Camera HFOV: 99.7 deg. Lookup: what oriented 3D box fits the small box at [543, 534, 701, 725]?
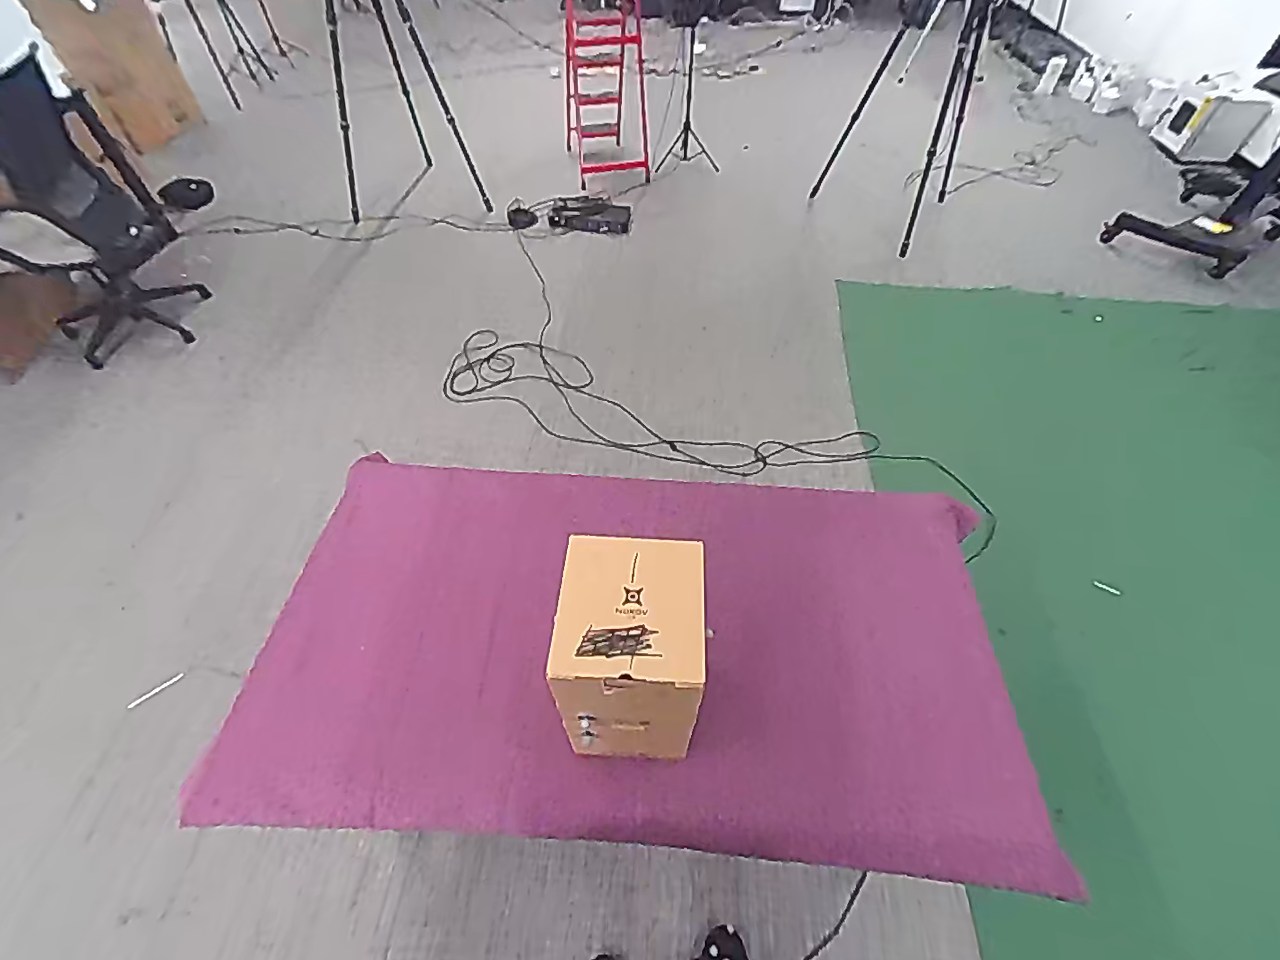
[{"bbox_3d":[-0.013,0.188,0.667,0.168,0.176,0.179,3,50,2],"label":"small box"}]
